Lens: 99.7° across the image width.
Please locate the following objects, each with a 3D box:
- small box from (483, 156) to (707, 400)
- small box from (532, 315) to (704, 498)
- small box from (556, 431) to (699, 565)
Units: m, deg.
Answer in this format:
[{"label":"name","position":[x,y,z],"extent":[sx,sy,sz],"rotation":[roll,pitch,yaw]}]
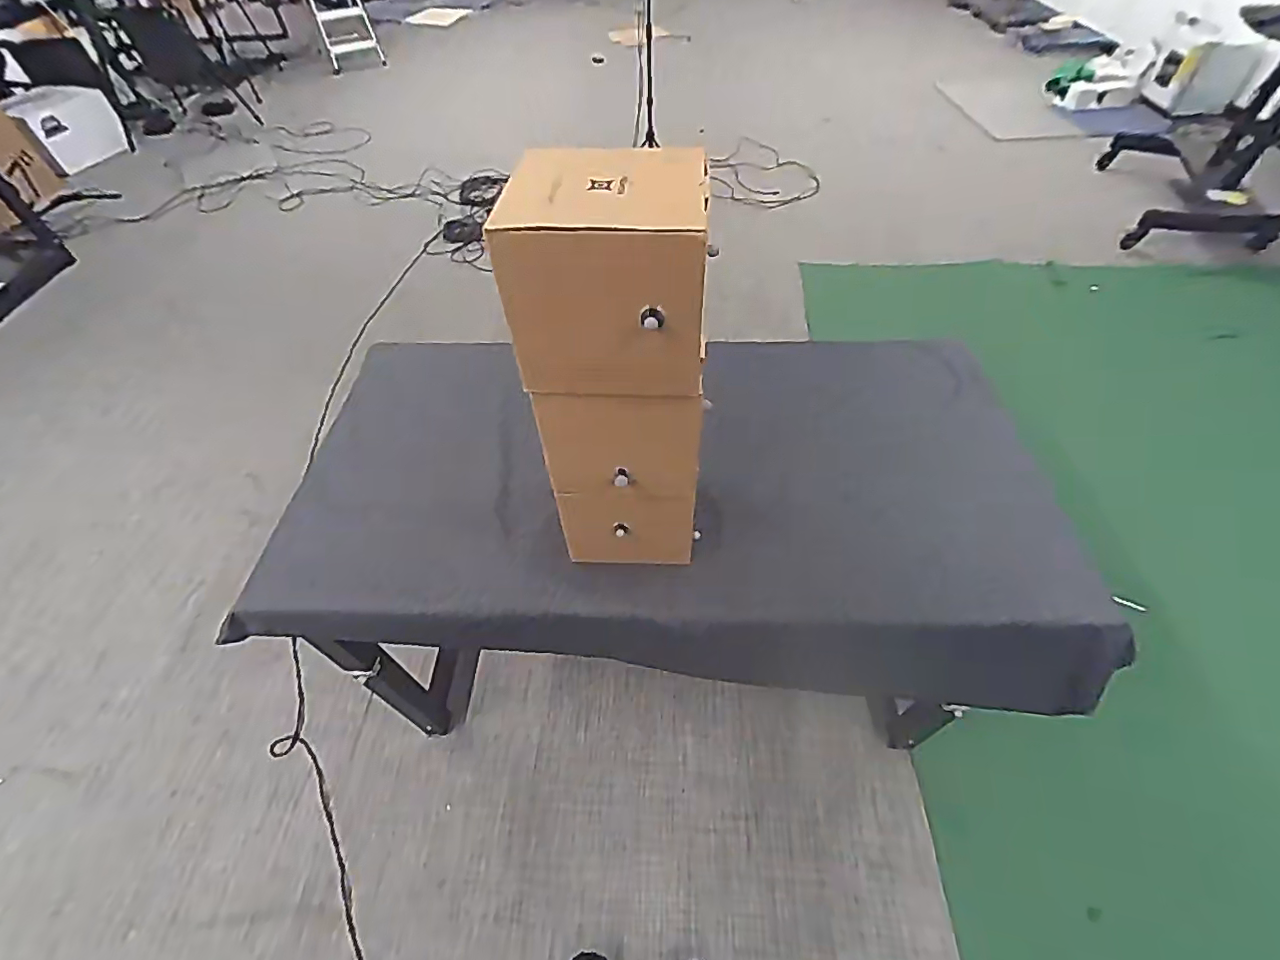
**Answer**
[{"label":"small box","position":[-0.027,-0.191,0.527],"extent":[0.179,0.176,0.168],"rotation":[1,49,5]},{"label":"small box","position":[-0.017,-0.091,0.655],"extent":[0.179,0.176,0.168],"rotation":[2,50,4]},{"label":"small box","position":[-0.010,0.008,0.781],"extent":[0.179,0.176,0.168],"rotation":[3,49,5]}]
